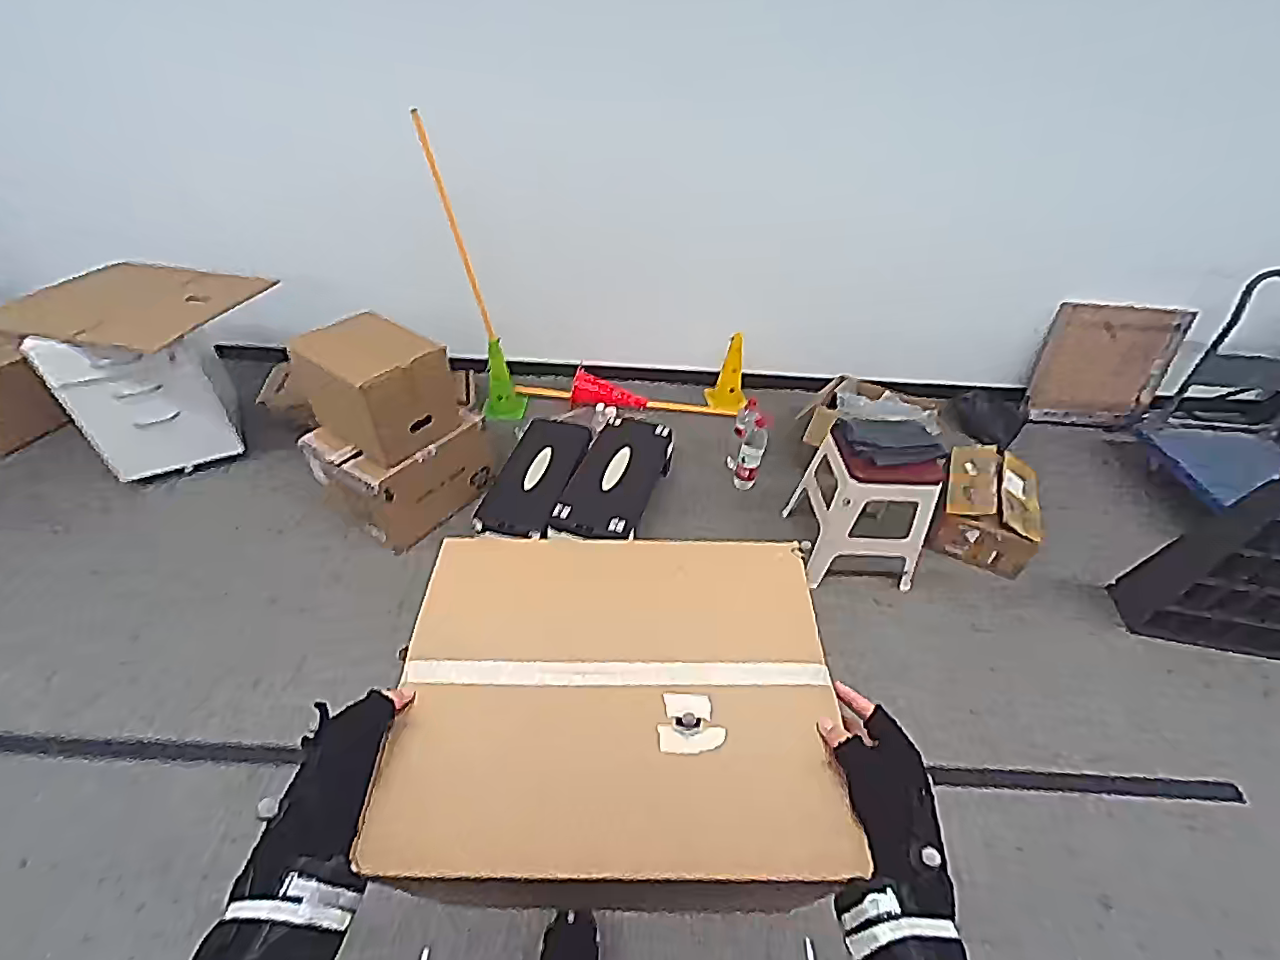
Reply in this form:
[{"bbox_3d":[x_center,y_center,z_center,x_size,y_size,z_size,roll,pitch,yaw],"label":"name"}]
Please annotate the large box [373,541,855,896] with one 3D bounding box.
[{"bbox_3d":[-0.024,0.288,0.646,0.408,0.320,0.320,1,49,0],"label":"large box"}]
